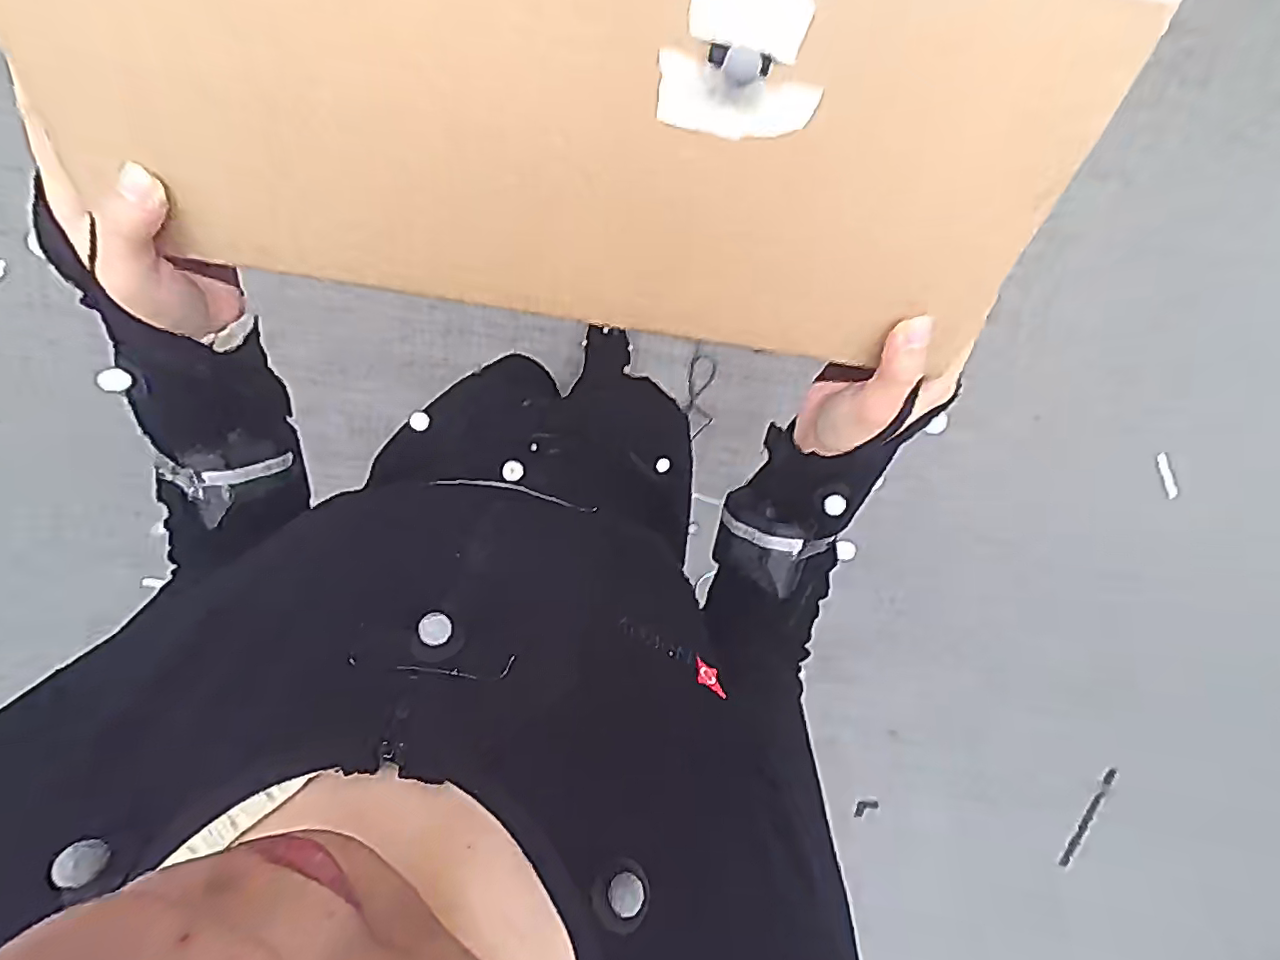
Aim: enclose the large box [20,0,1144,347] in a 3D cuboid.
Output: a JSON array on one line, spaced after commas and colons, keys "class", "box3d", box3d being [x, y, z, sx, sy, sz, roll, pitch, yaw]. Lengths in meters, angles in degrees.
[{"class": "large box", "box3d": [-0.016, -0.300, 0.277, 0.408, 0.320, 0.320, 7, 133, -4]}]
